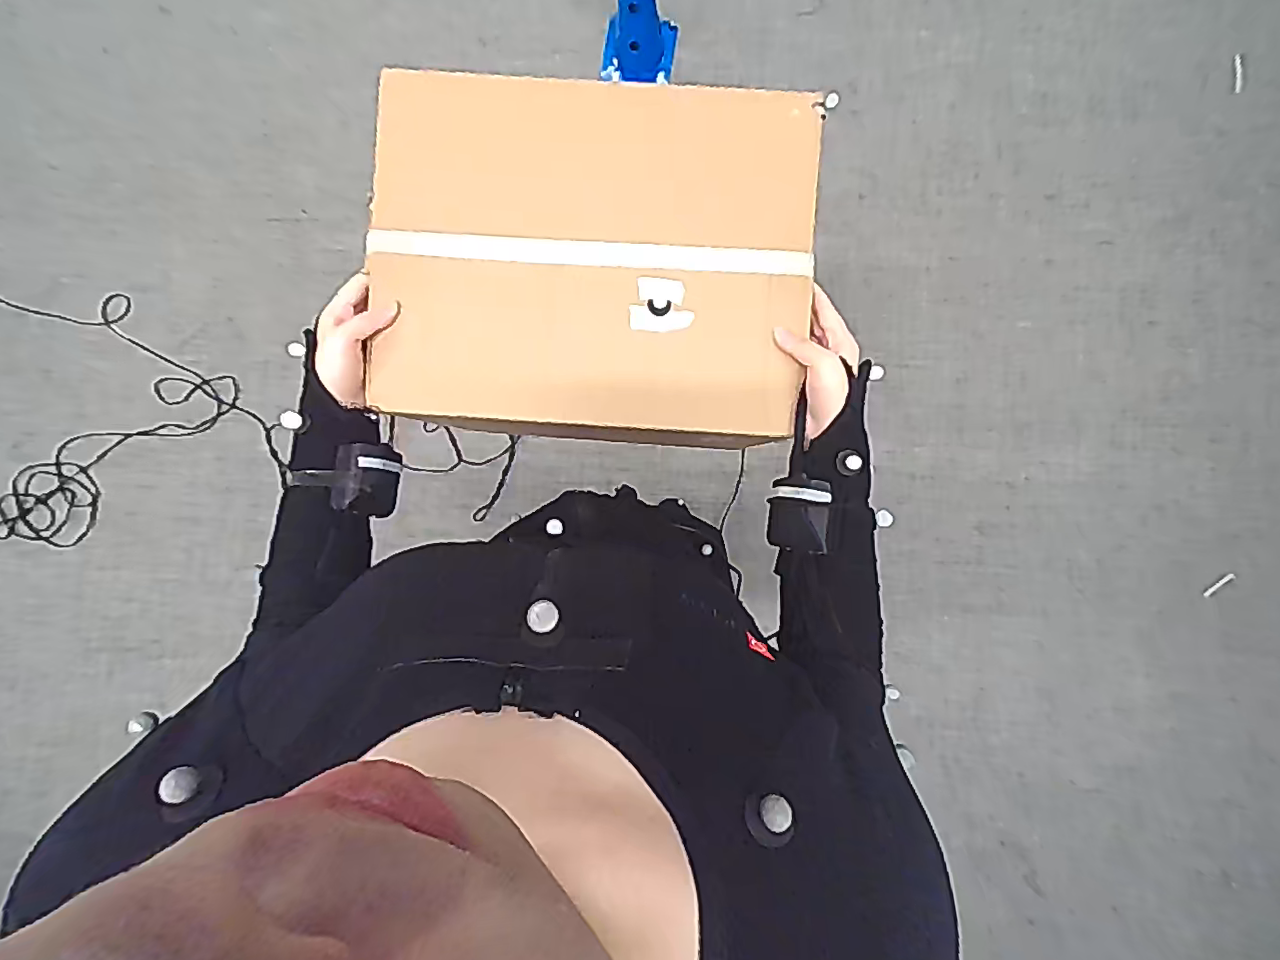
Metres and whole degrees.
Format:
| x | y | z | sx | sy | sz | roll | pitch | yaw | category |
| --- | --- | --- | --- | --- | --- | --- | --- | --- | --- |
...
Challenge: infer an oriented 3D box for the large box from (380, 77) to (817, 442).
| x | y | z | sx | sy | sz | roll | pitch | yaw | category |
| --- | --- | --- | --- | --- | --- | --- | --- | --- | --- |
| -0.042 | -0.214 | 0.653 | 0.408 | 0.320 | 0.320 | 3 | 92 | -1 | large box |

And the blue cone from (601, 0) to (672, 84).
| x | y | z | sx | sy | sz | roll | pitch | yaw | category |
| --- | --- | --- | --- | --- | --- | --- | --- | --- | --- |
| -0.014 | -1.240 | 1.384 | 0.193 | 0.380 | 0.192 | 11 | 88 | 2 | blue cone |
